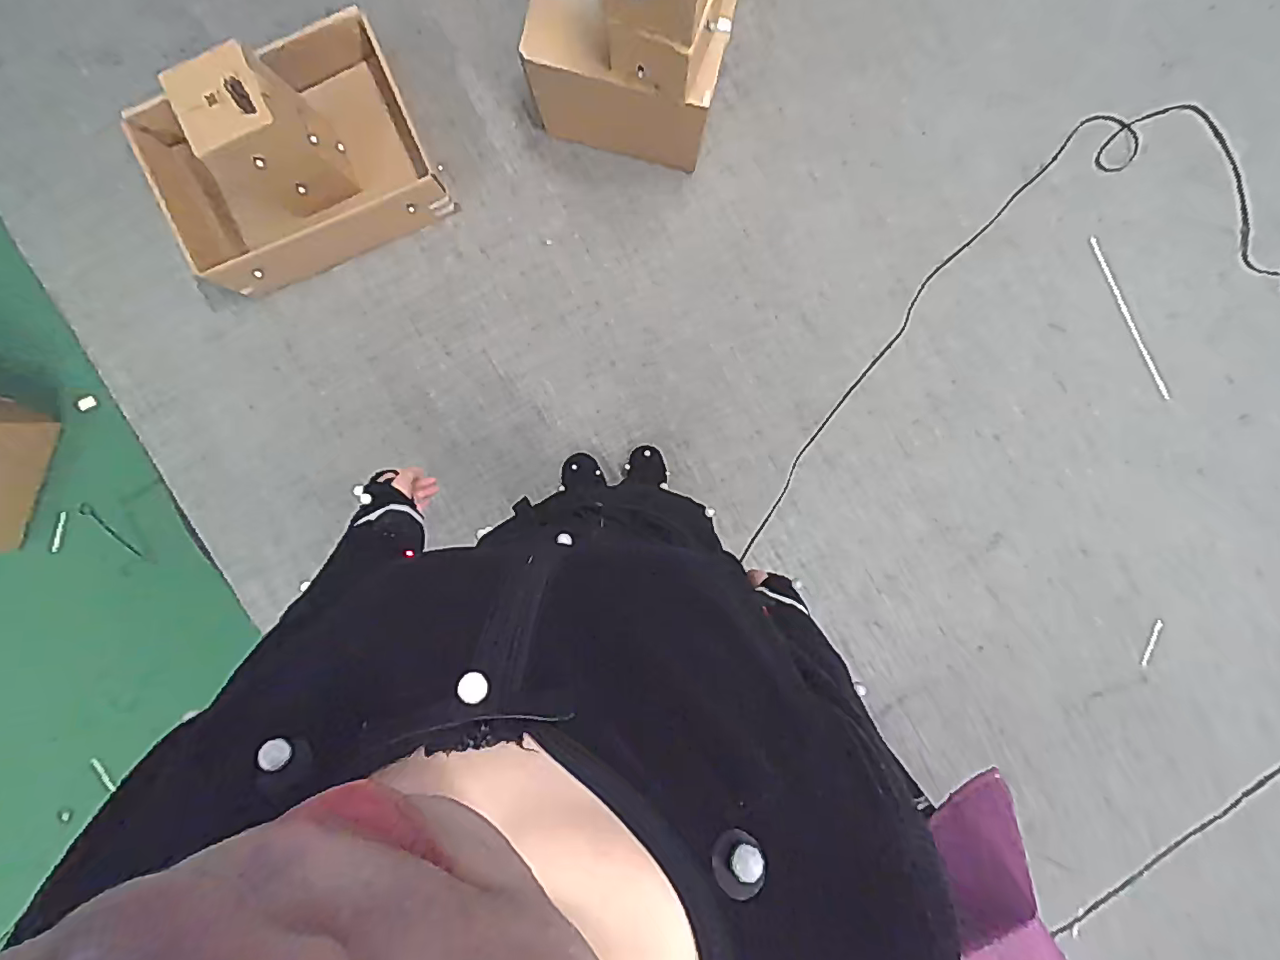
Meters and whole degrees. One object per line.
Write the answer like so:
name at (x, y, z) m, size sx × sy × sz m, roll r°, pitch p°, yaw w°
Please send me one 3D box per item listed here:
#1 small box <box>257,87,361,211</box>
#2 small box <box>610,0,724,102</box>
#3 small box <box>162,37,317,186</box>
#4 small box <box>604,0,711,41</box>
small box at (-0.811, -0.773, 1.286) m, size 0.179 × 0.176 × 0.168 m, roll -22°, pitch 97°, yaw 3°
small box at (0.054, -0.867, 1.012) m, size 0.168 × 0.176 × 0.179 m, roll 23°, pitch 99°, yaw -3°
small box at (-0.812, -0.752, 1.124) m, size 0.179 × 0.176 × 0.168 m, roll -21°, pitch 96°, yaw 5°
small box at (0.040, -0.846, 0.849) m, size 0.179 × 0.176 × 0.168 m, roll 20°, pitch 100°, yaw -2°
